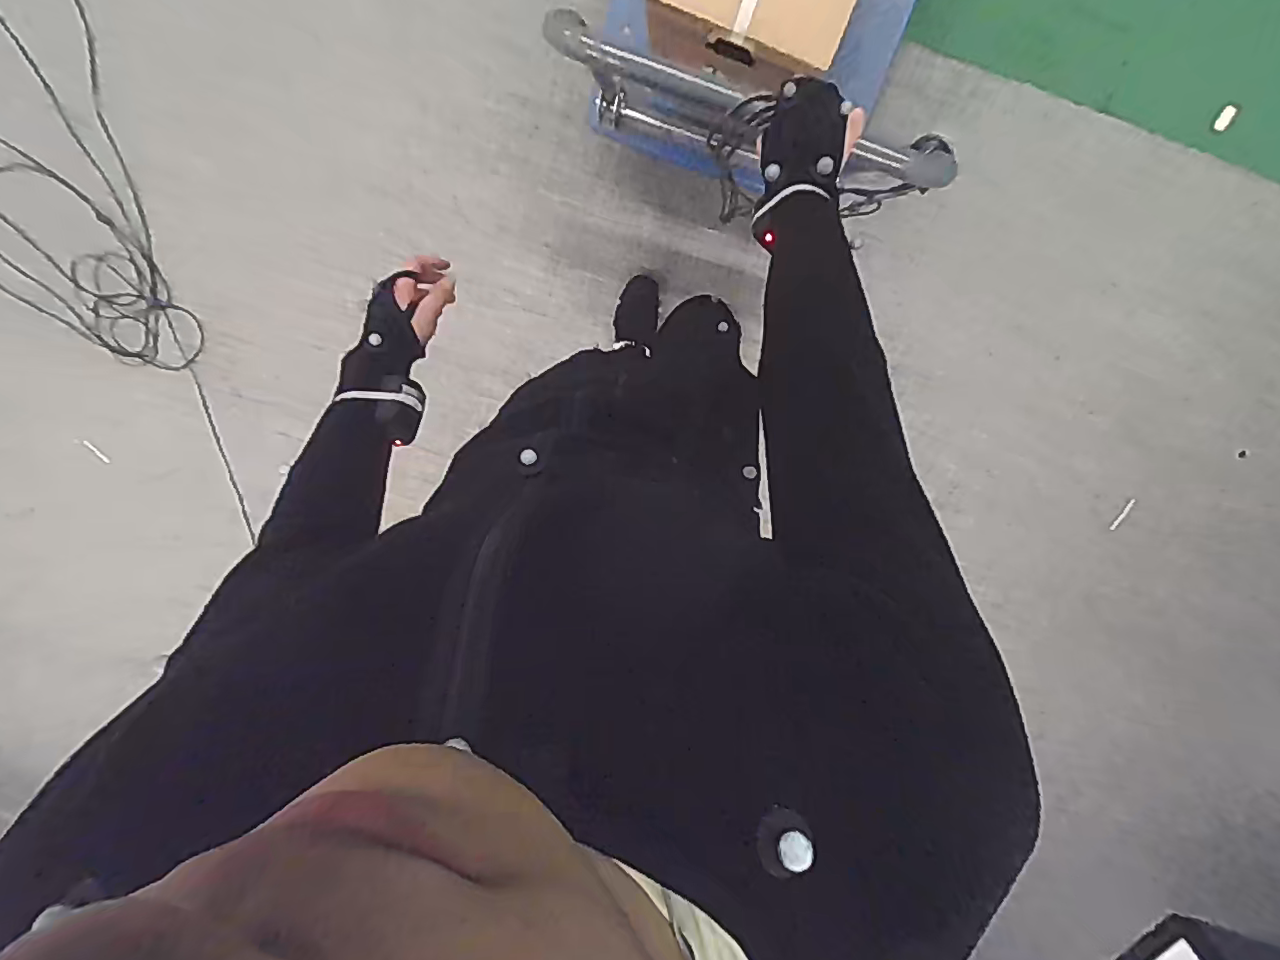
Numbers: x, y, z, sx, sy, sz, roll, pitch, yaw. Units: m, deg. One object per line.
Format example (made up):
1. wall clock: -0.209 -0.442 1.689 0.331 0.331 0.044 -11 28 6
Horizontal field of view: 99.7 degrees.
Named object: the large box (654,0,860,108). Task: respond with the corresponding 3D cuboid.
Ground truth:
1. large box: 0.230 -0.925 0.894 0.320 0.320 0.408 19 113 -6
